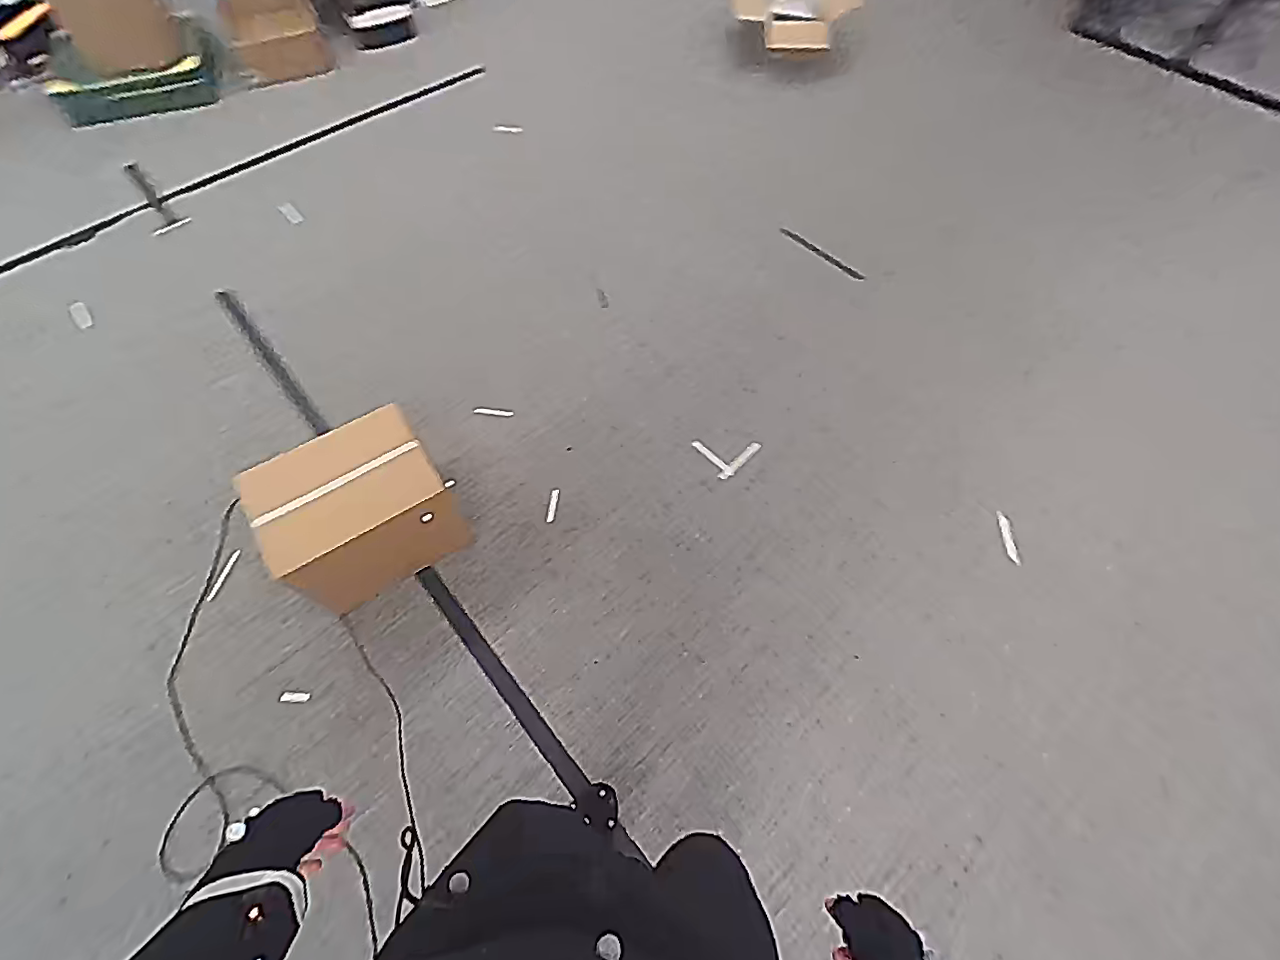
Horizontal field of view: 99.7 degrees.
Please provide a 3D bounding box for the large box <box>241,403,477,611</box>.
[{"bbox_3d":[-0.704,0.077,1.411,0.408,0.320,0.320,-30,66,-17],"label":"large box"}]
